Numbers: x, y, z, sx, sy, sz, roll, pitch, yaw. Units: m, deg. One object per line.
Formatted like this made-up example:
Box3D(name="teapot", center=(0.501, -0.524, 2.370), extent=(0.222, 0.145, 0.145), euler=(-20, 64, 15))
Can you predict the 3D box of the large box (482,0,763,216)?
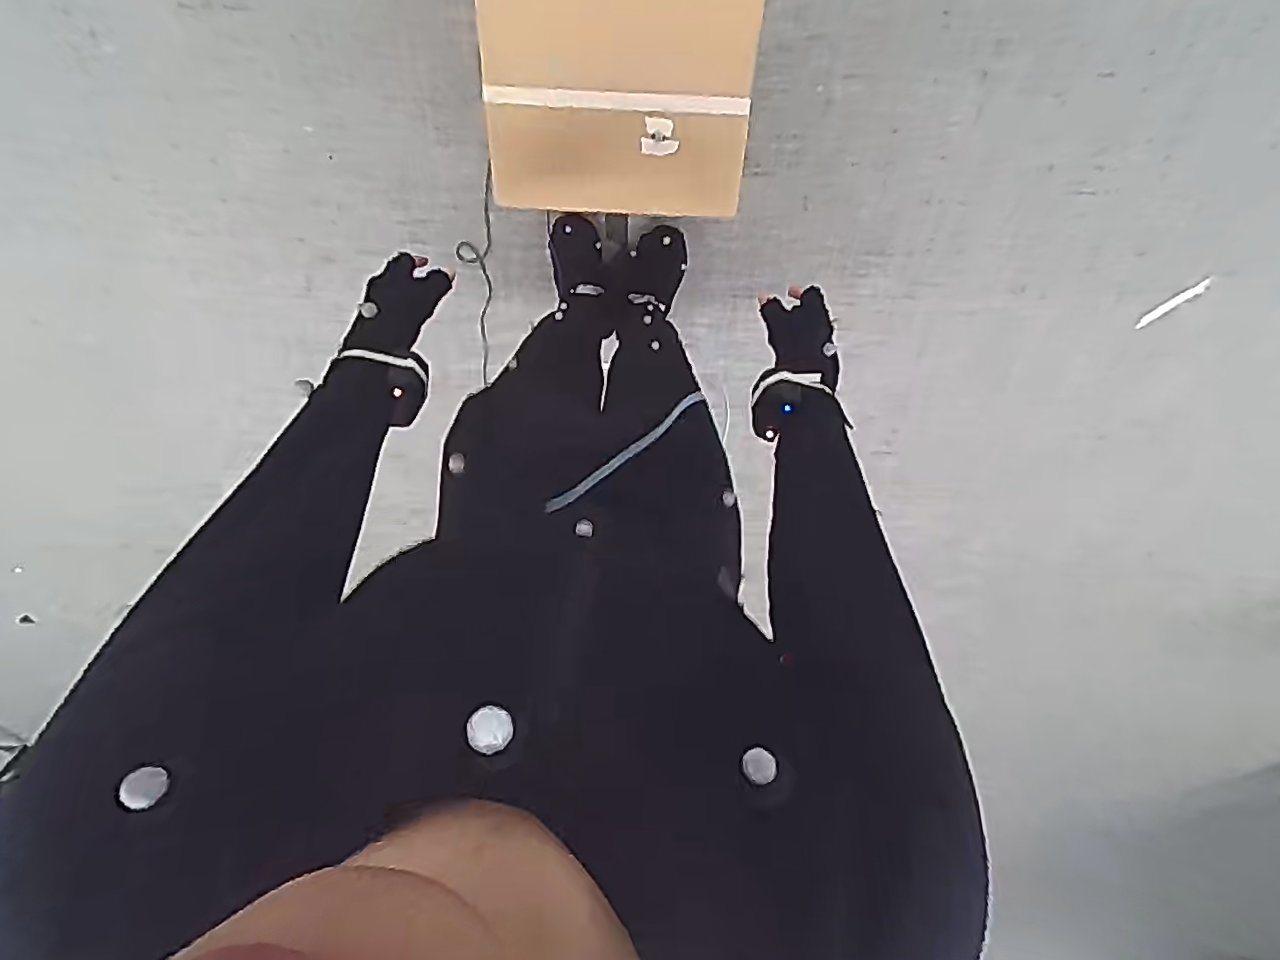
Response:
Box3D(name="large box", center=(-0.031, -0.661, 0.951), extent=(0.408, 0.320, 0.320), euler=(1, 125, -2))
